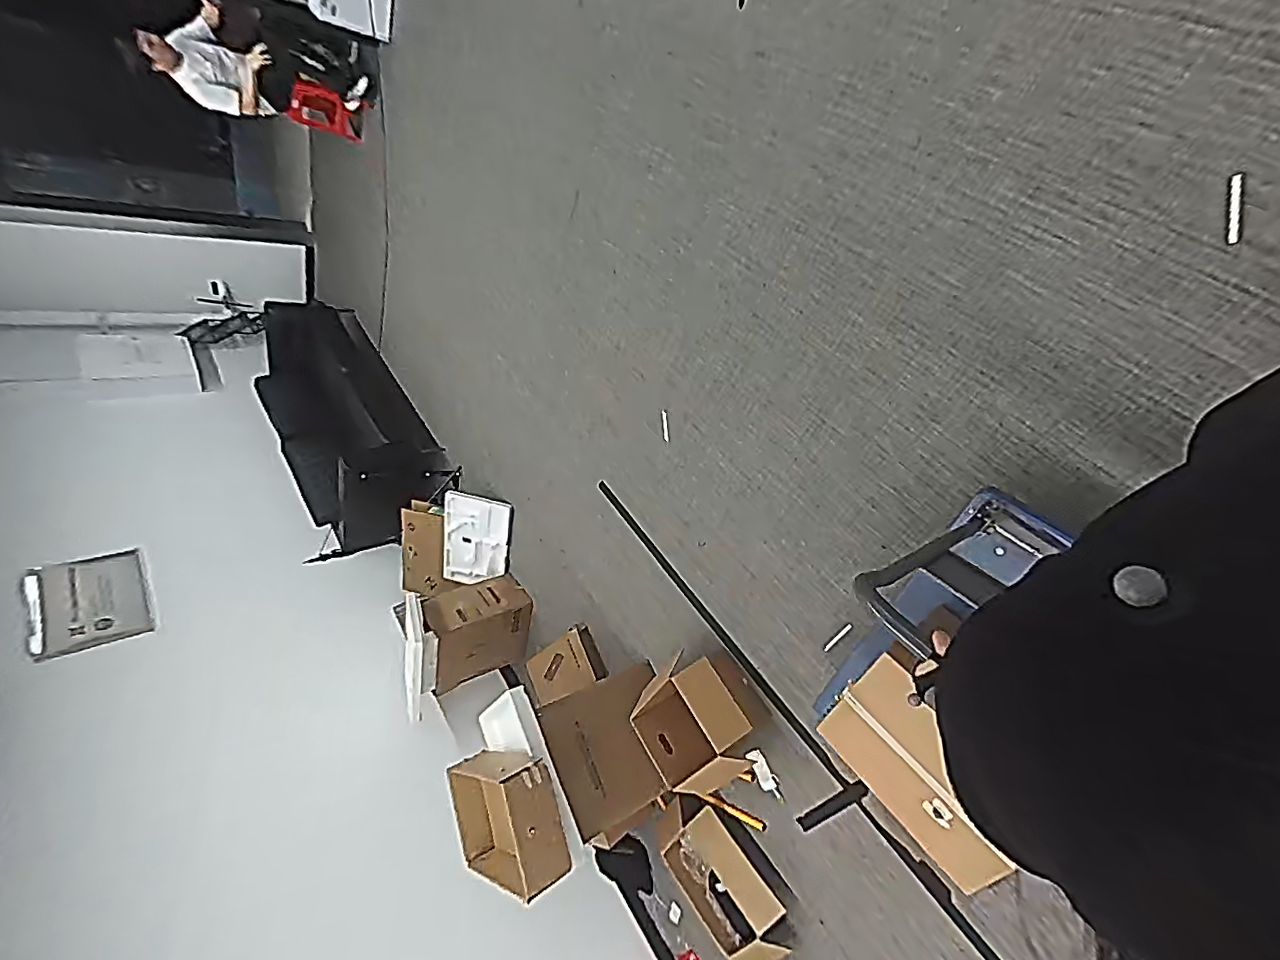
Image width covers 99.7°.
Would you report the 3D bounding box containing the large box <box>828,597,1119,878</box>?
[{"bbox_3d":[0.720,0.539,1.202,0.408,0.320,0.320,44,131,31],"label":"large box"}]
